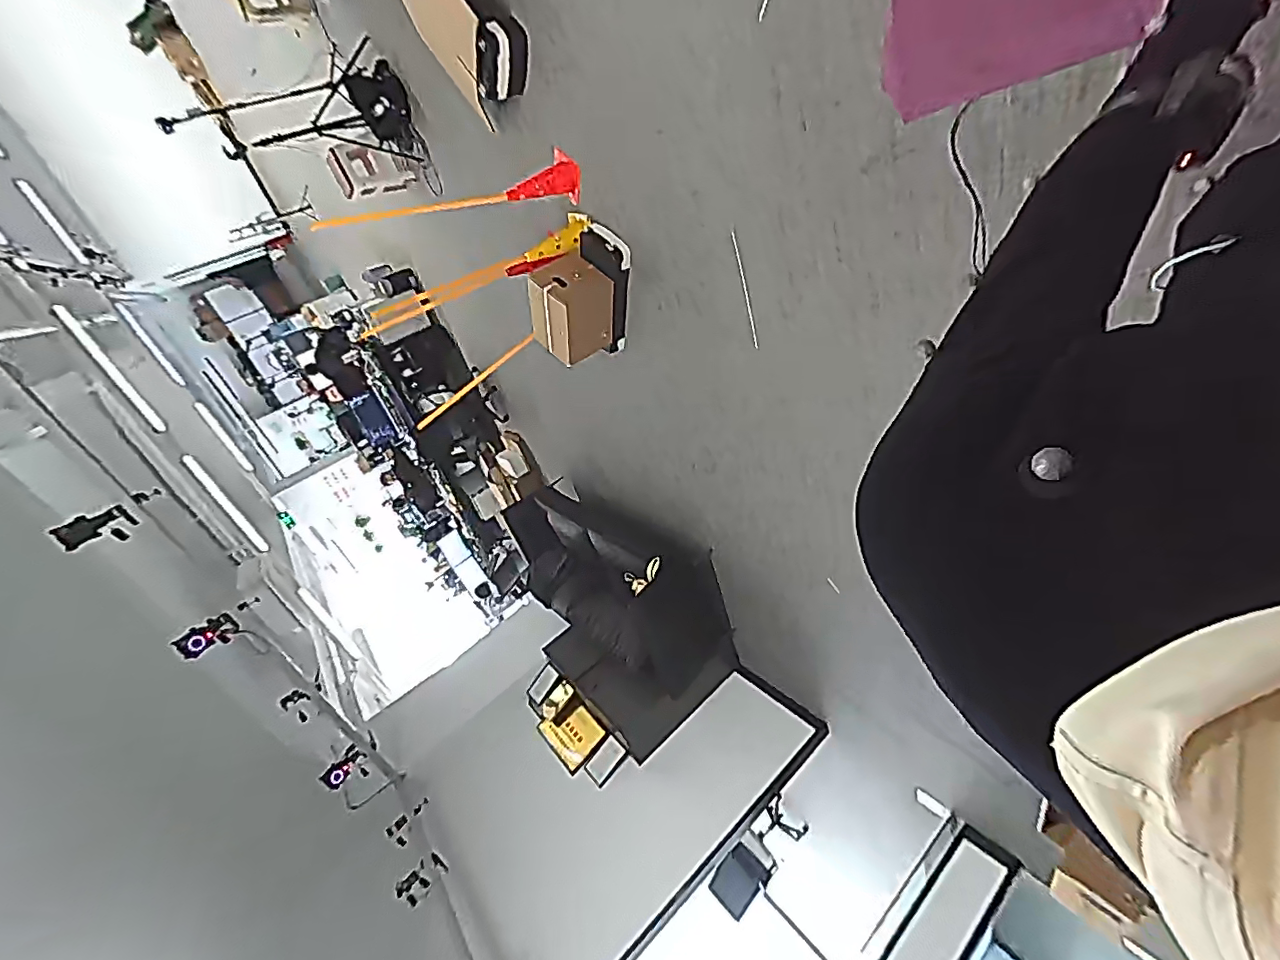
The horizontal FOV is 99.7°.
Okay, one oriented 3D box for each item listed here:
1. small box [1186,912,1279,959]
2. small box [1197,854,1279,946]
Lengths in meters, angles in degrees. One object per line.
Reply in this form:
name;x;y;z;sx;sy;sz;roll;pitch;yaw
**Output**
small box;1.379;1.140;1.230;0.179;0.176;0.168;23;140;51
small box;1.504;1.057;1.297;0.179;0.176;0.168;26;143;50
